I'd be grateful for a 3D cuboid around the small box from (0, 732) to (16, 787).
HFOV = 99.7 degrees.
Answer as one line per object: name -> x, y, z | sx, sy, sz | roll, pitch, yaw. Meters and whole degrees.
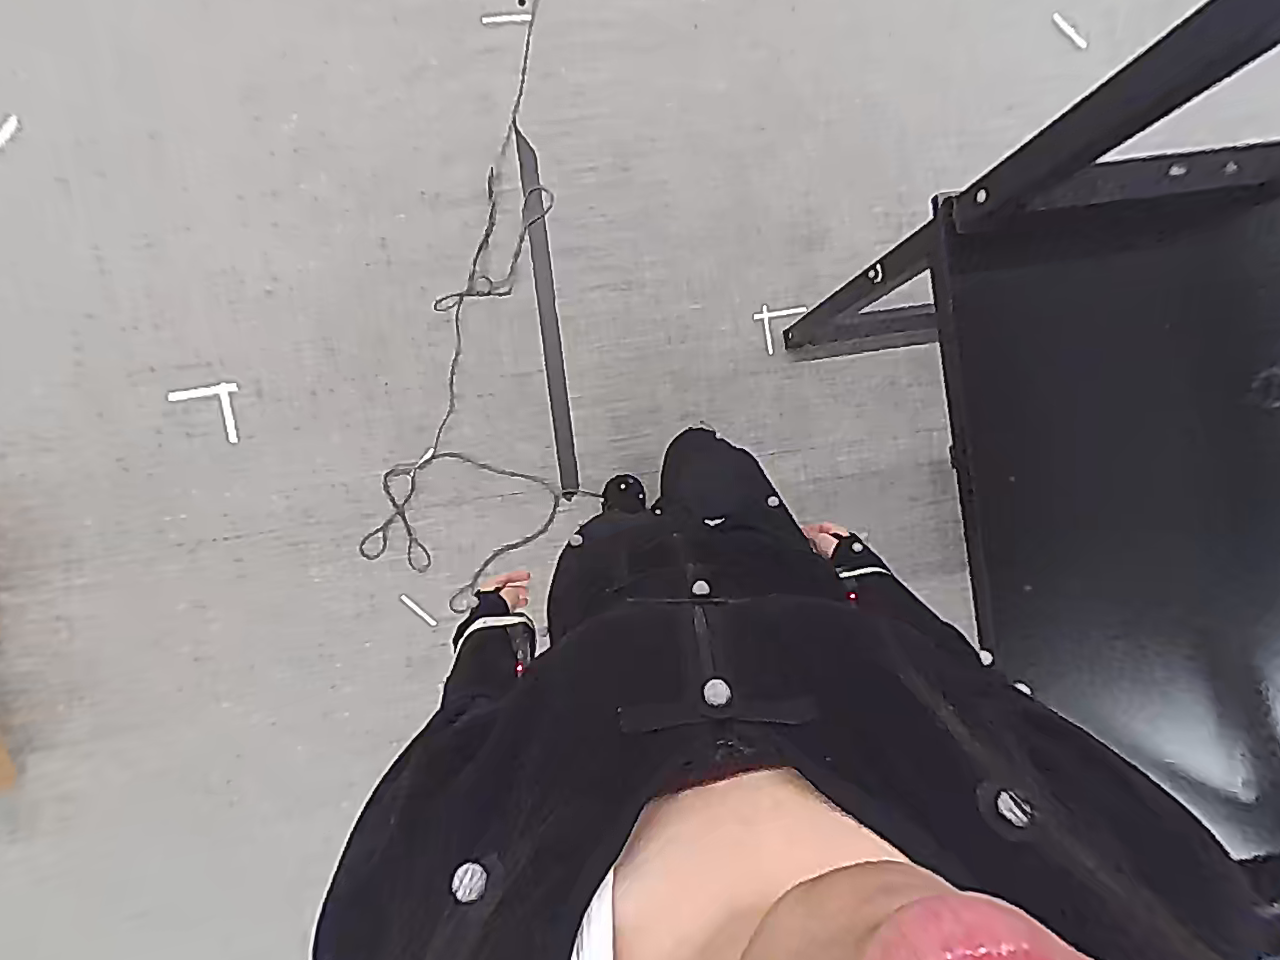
small box -> -1.690, 0.713, 1.299 | 0.168, 0.176, 0.179 | -21, 94, -4
